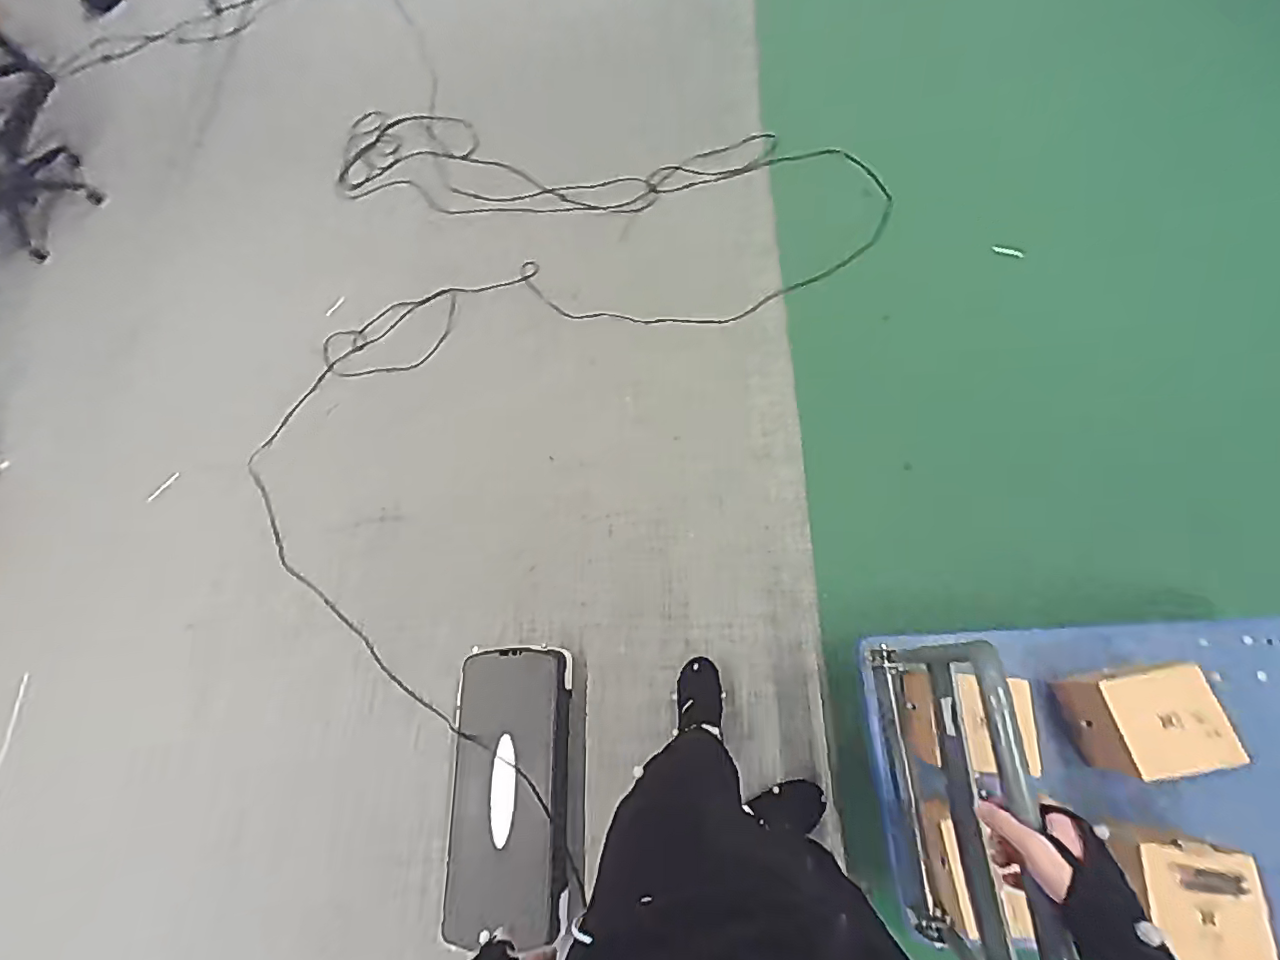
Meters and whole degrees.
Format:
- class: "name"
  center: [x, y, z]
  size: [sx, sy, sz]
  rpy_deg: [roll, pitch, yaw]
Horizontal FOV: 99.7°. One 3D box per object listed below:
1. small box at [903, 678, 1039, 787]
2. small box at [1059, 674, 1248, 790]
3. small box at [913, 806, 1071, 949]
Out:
- class: "small box"
  center: [0.639, 0.487, 1.065]
  size: [0.179, 0.176, 0.168]
  rpy_deg: [1, 71, 11]
- class: "small box"
  center: [0.940, 0.467, 1.019]
  size: [0.179, 0.176, 0.168]
  rpy_deg: [-13, 69, 5]
- class: "small box"
  center: [0.622, 0.709, 0.985]
  size: [0.168, 0.176, 0.179]
  rpy_deg: [-8, 70, 7]
